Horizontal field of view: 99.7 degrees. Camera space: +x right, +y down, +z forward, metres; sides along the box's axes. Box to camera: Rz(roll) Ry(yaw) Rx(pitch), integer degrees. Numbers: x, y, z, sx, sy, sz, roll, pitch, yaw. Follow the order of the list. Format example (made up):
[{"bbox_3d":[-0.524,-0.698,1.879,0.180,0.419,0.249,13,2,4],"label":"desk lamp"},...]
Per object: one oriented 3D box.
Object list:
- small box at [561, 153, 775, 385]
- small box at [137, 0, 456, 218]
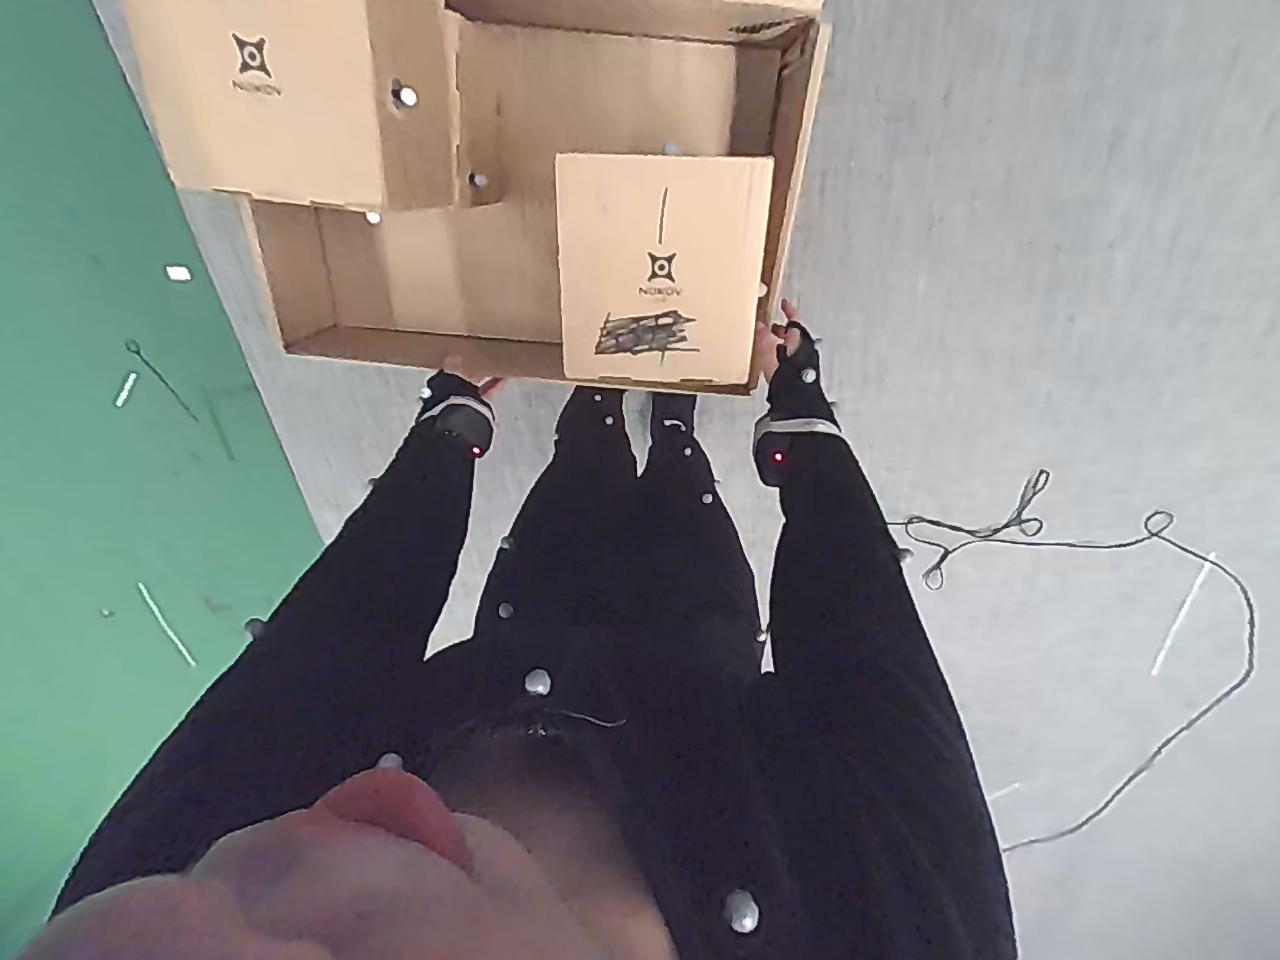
[{"bbox_3d":[0.020,-0.204,0.517,0.168,0.176,0.179,2,118,0],"label":"small box"},{"bbox_3d":[-0.262,-0.332,0.454,0.168,0.176,0.179,7,119,-3],"label":"small box"}]
